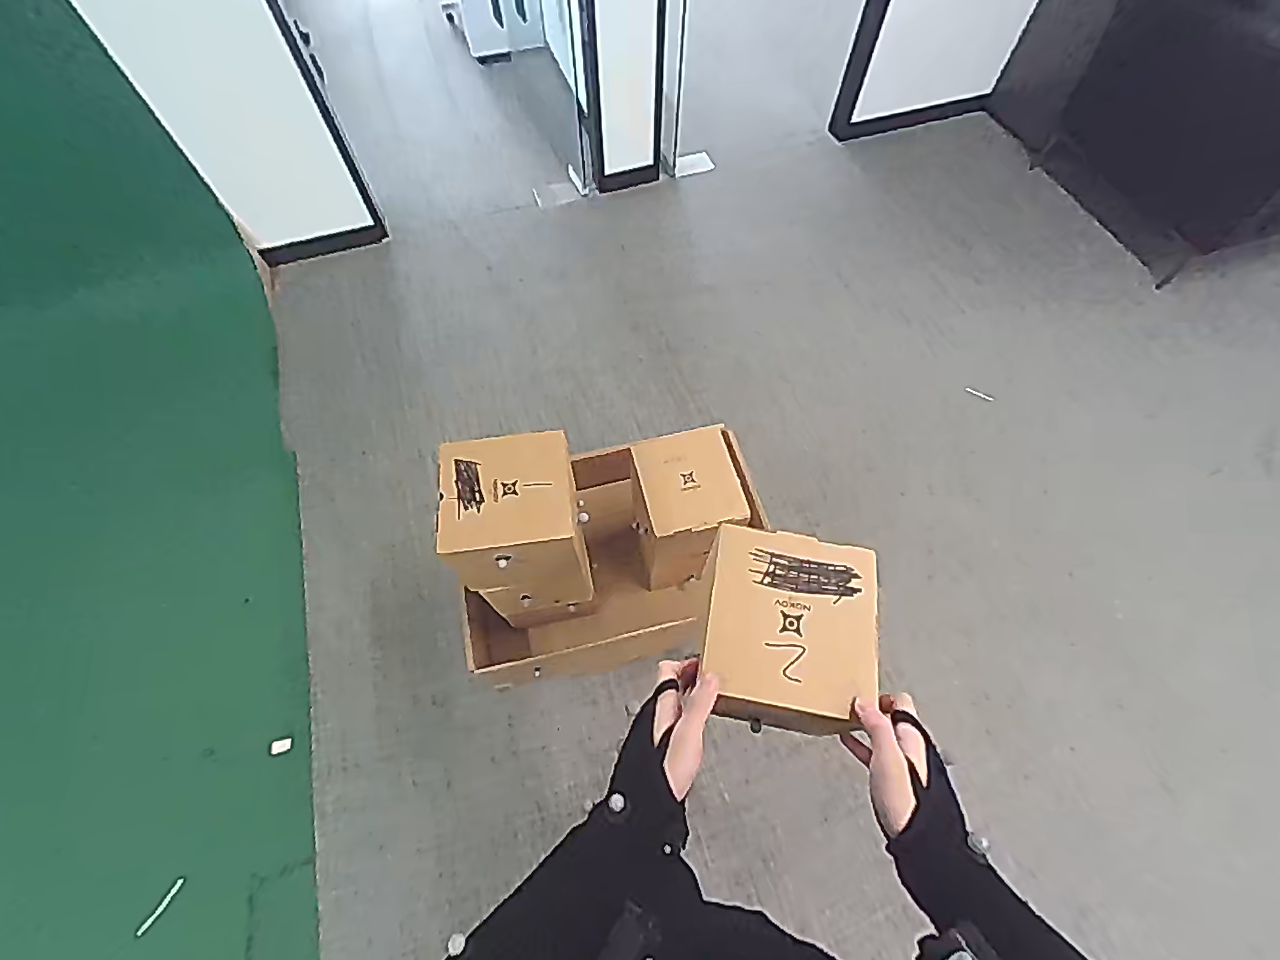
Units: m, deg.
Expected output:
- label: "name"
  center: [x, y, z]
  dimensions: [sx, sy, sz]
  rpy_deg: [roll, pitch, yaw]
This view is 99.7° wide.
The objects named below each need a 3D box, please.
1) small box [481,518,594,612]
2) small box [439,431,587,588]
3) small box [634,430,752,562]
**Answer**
- label: "small box"
  center: [-0.176, 0.121, 0.938]
  dimensions: [0.168, 0.176, 0.179]
  rpy_deg: [-10, 63, -5]
- label: "small box"
  center: [-0.177, 0.050, 0.790]
  dimensions: [0.179, 0.176, 0.168]
  rpy_deg: [-7, 63, -4]
- label: "small box"
  center: [0.087, 0.038, 0.979]
  dimensions: [0.168, 0.176, 0.179]
  rpy_deg: [-12, 63, -7]
